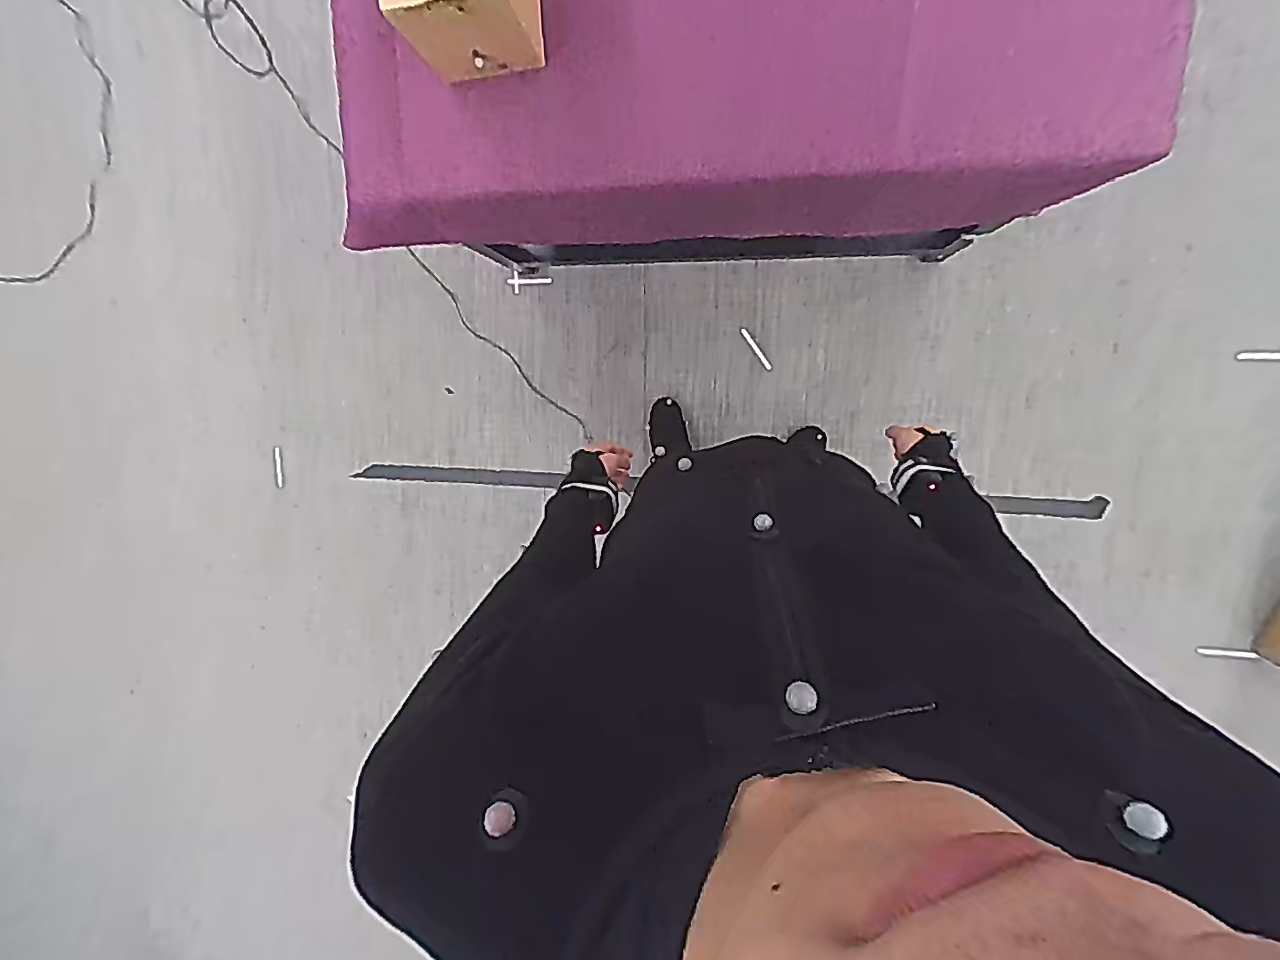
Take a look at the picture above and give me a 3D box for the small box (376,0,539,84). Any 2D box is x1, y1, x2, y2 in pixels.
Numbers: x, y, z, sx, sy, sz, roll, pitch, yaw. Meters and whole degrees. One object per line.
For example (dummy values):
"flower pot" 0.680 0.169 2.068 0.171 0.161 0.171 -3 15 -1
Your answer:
"small box" -0.248 -0.695 0.746 0.168 0.176 0.179 -2 99 10
